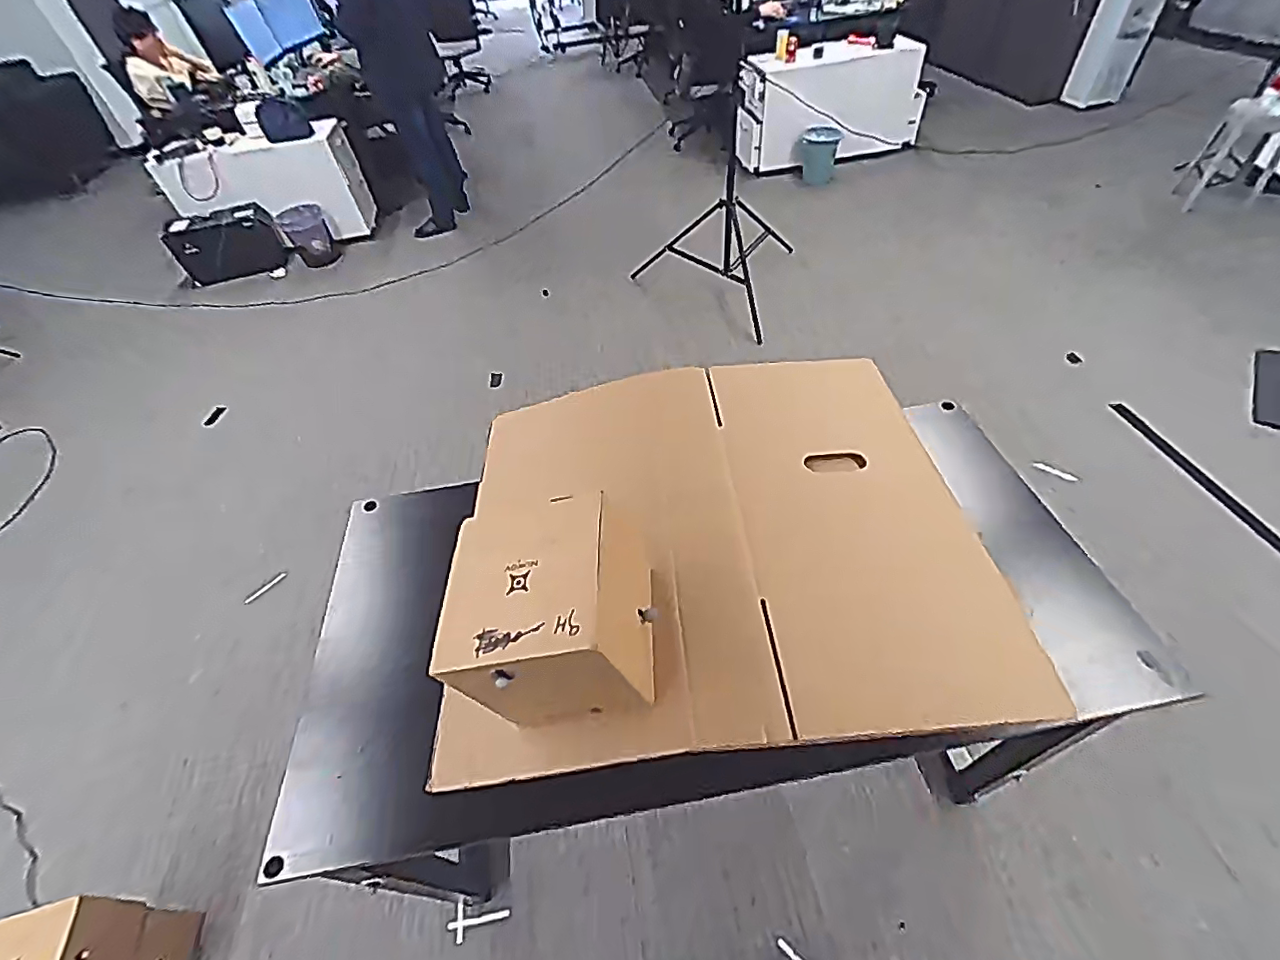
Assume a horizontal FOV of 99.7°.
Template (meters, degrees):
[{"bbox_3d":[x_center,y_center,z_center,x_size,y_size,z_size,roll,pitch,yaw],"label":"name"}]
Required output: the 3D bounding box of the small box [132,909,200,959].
[{"bbox_3d":[-1.064,1.022,1.116,0.168,0.176,0.179,-13,49,-5],"label":"small box"}]

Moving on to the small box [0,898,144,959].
[{"bbox_3d":[-1.081,0.910,0.999,0.168,0.176,0.179,-15,47,-8],"label":"small box"}]

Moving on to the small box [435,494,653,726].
[{"bbox_3d":[-0.087,0.146,0.590,0.168,0.176,0.179,-13,47,13],"label":"small box"}]
